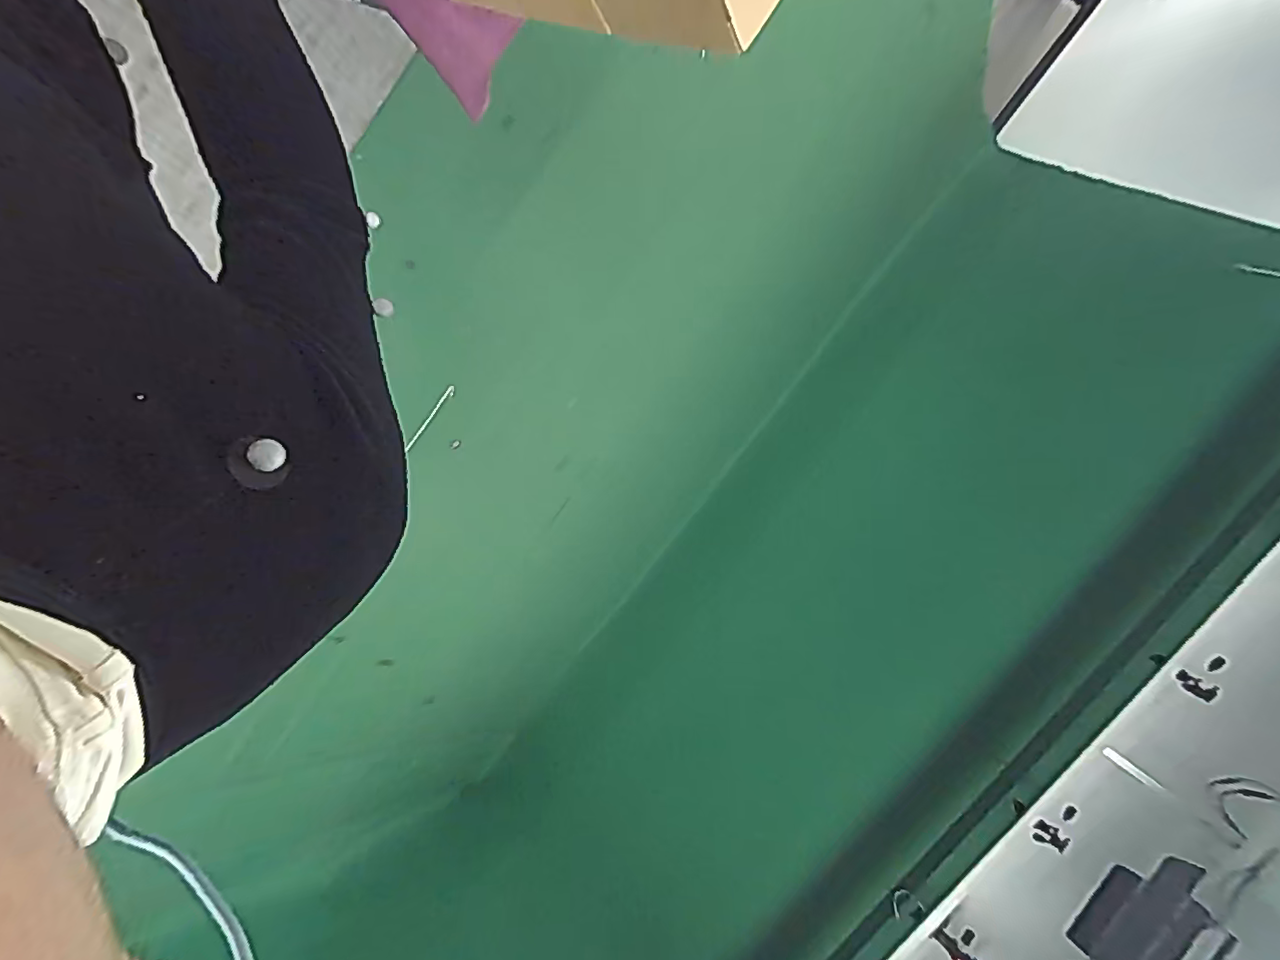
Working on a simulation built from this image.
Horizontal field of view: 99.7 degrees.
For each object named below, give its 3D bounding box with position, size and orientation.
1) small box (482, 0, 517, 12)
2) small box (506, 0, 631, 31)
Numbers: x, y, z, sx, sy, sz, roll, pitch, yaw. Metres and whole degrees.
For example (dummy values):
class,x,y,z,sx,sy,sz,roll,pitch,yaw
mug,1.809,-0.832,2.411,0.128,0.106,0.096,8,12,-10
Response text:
class,x,y,z,sx,sy,sz,roll,pitch,yaw
small box,-0.183,-0.671,0.585,0.168,0.176,0.179,-52,150,2
small box,-0.070,-0.581,0.507,0.179,0.176,0.168,-52,149,3
